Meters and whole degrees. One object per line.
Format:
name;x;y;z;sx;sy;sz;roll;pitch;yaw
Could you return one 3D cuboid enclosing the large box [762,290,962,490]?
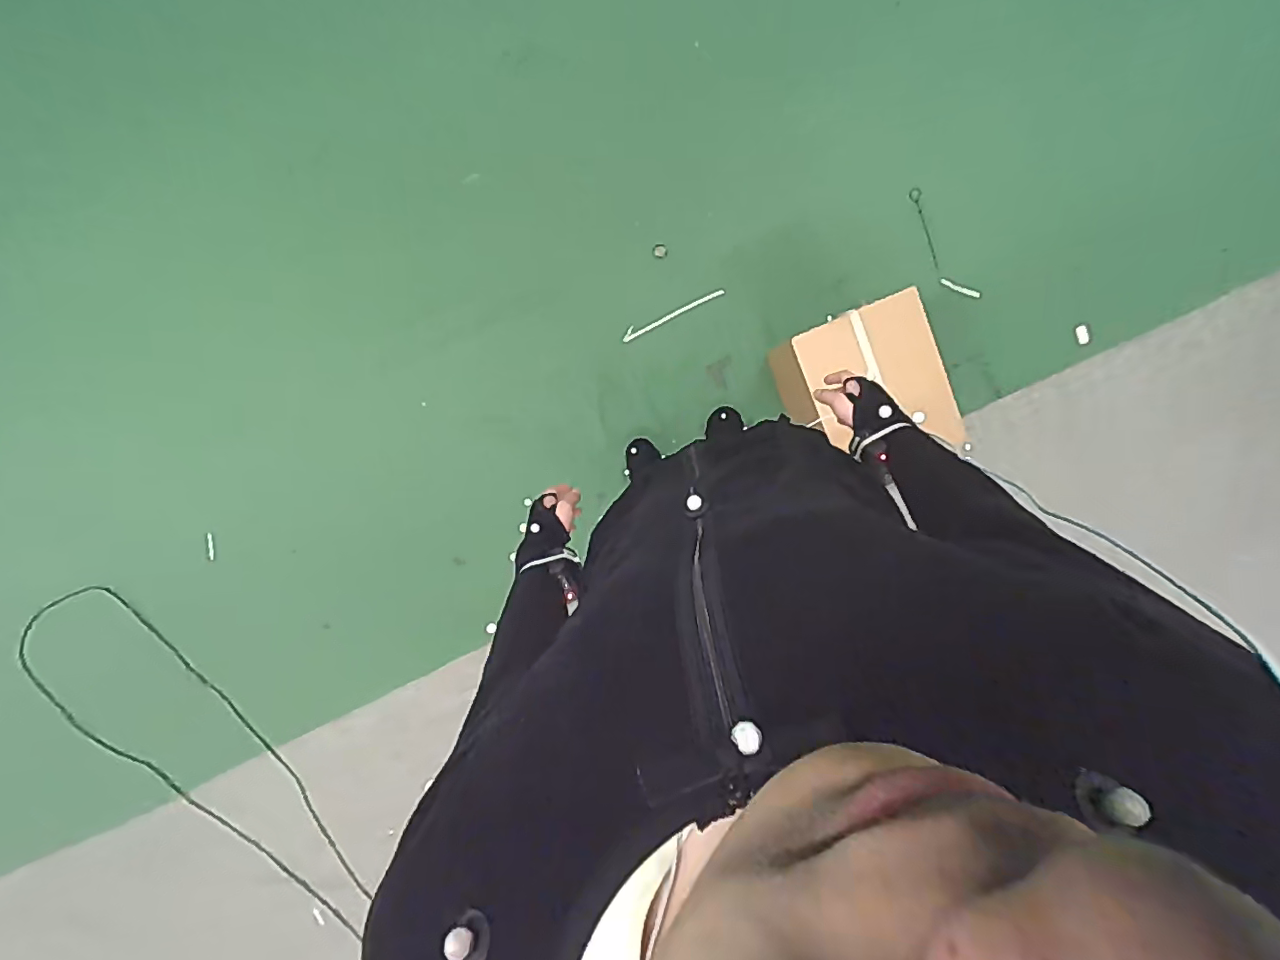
large box;0.569;-0.232;1.451;0.320;0.320;0.408;-23;97;4
